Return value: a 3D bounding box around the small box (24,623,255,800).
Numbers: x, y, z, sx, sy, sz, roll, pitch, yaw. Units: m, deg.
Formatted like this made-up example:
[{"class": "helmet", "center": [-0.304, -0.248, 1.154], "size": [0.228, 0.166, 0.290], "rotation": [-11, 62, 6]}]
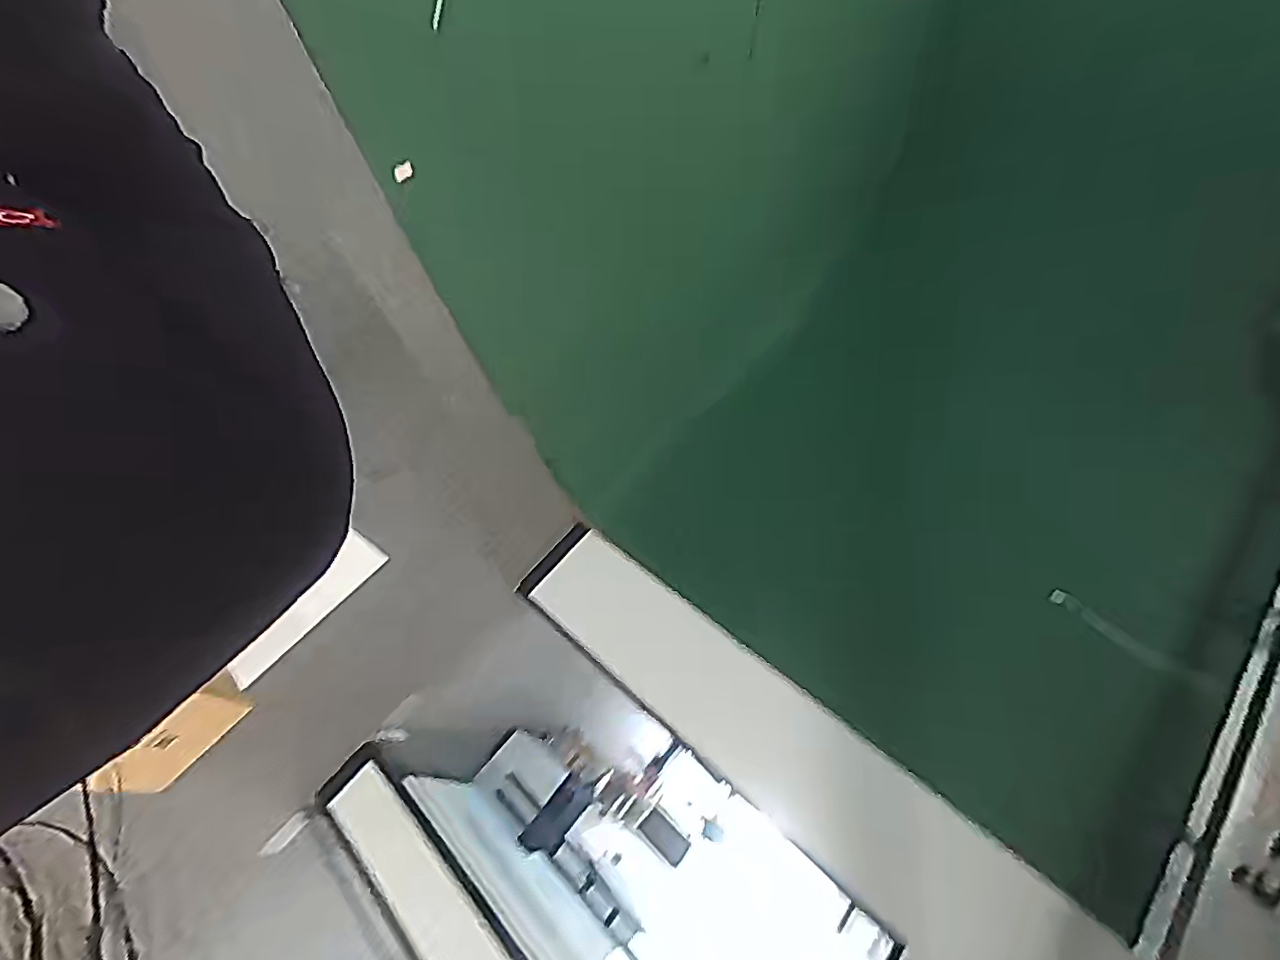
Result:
[{"class": "small box", "center": [-0.746, 0.342, 0.813], "size": [0.168, 0.176, 0.179], "rotation": [-46, 151, -20]}]
